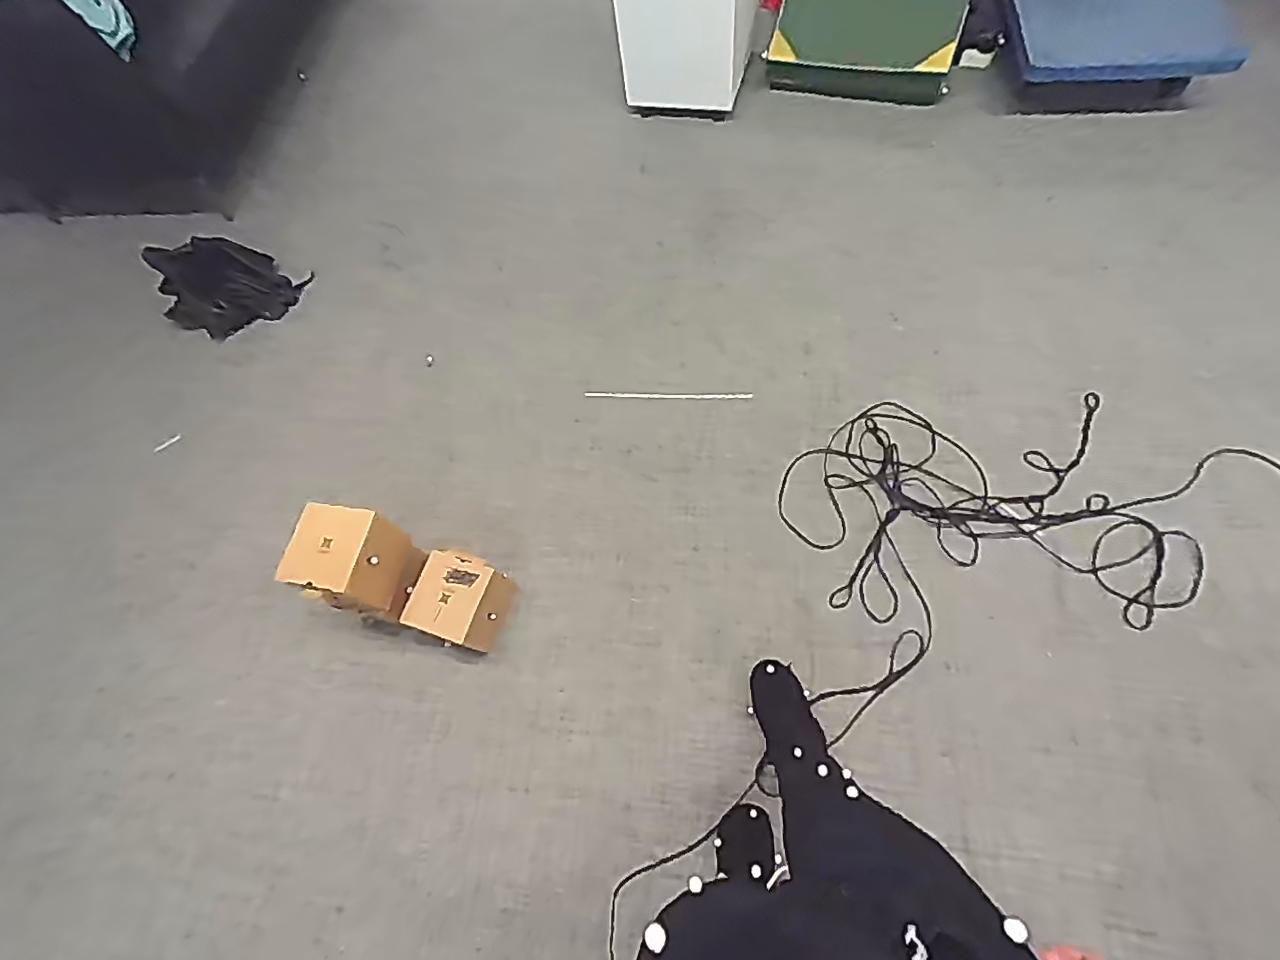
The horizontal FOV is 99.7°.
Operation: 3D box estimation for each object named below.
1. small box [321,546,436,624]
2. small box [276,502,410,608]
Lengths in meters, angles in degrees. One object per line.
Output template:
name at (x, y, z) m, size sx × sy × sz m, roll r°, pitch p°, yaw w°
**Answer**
small box at (-0.627, 0.246, 1.324) m, size 0.168 × 0.176 × 0.179 m, roll 7°, pitch 67°, yaw 10°
small box at (-0.632, 0.167, 1.180) m, size 0.168 × 0.176 × 0.179 m, roll 7°, pitch 67°, yaw 10°
